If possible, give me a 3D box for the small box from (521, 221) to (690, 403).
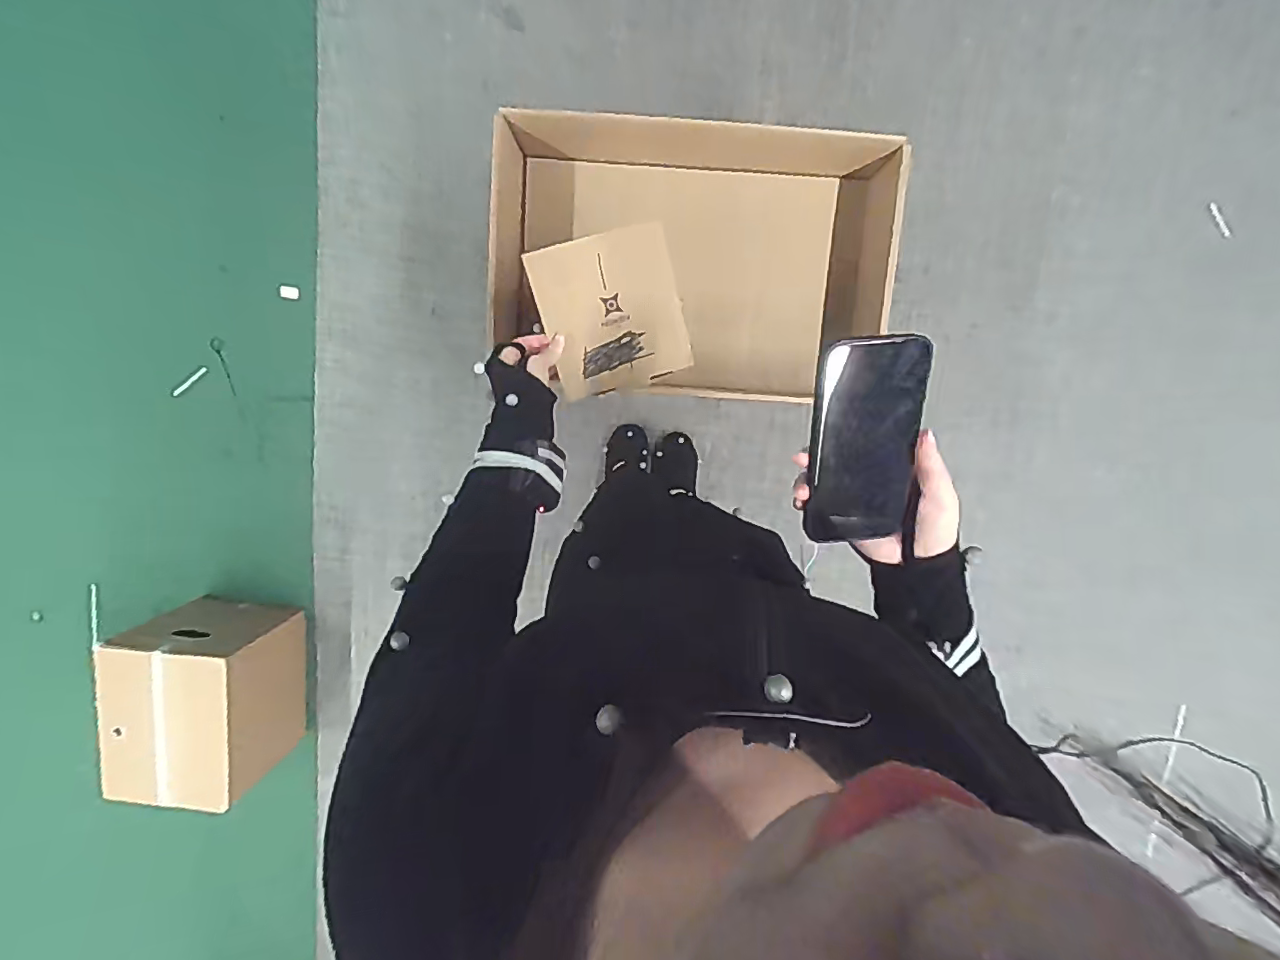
[{"bbox_3d":[-0.045,-0.214,0.711,0.168,0.176,0.179,-17,105,-3],"label":"small box"}]
